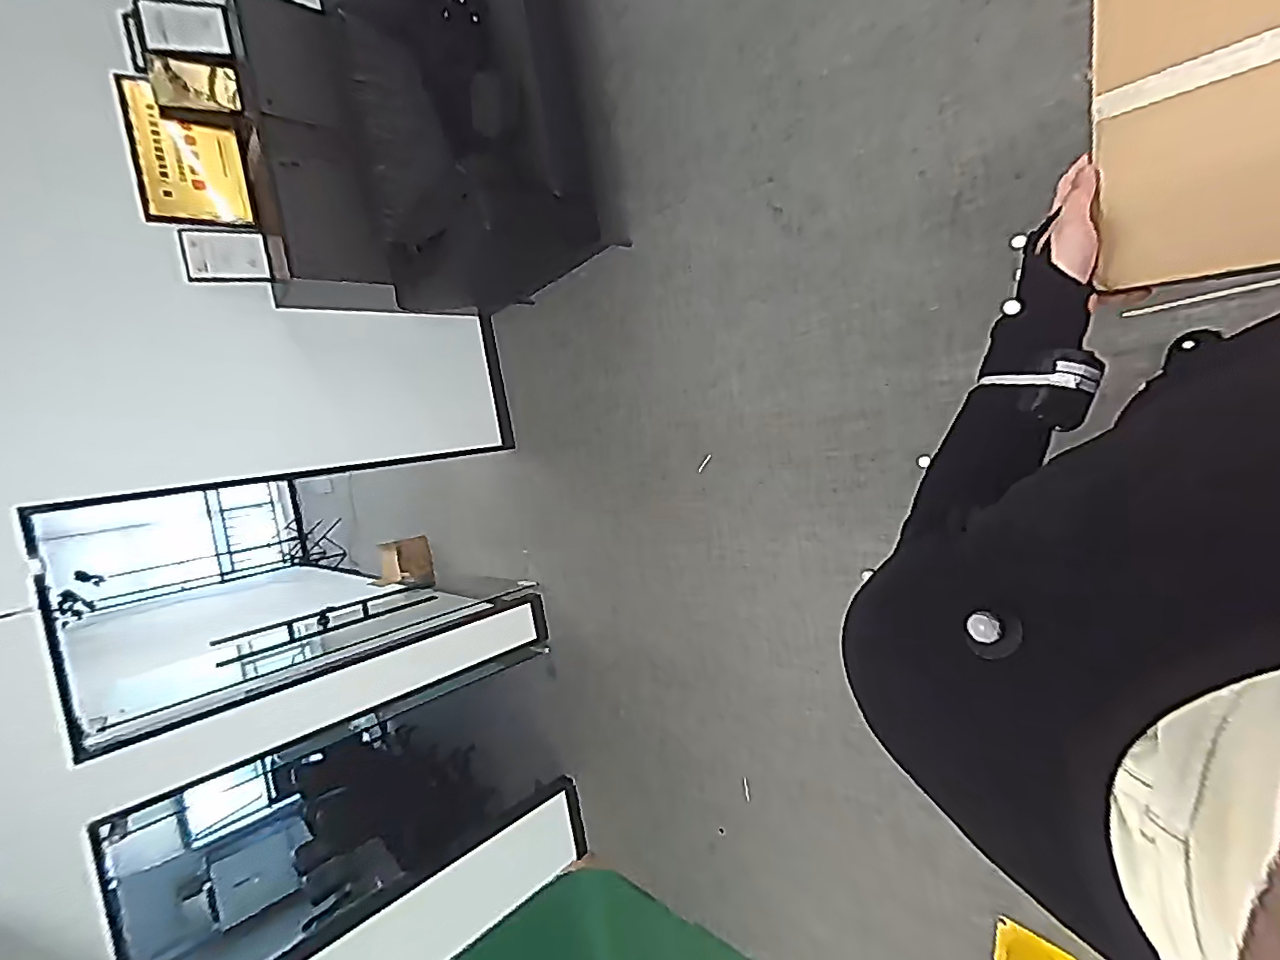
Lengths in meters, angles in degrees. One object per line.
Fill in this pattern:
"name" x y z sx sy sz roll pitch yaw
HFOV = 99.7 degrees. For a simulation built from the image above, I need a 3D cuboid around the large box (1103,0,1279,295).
"large box" 0.654 -0.348 0.425 0.408 0.320 0.320 4 107 49
